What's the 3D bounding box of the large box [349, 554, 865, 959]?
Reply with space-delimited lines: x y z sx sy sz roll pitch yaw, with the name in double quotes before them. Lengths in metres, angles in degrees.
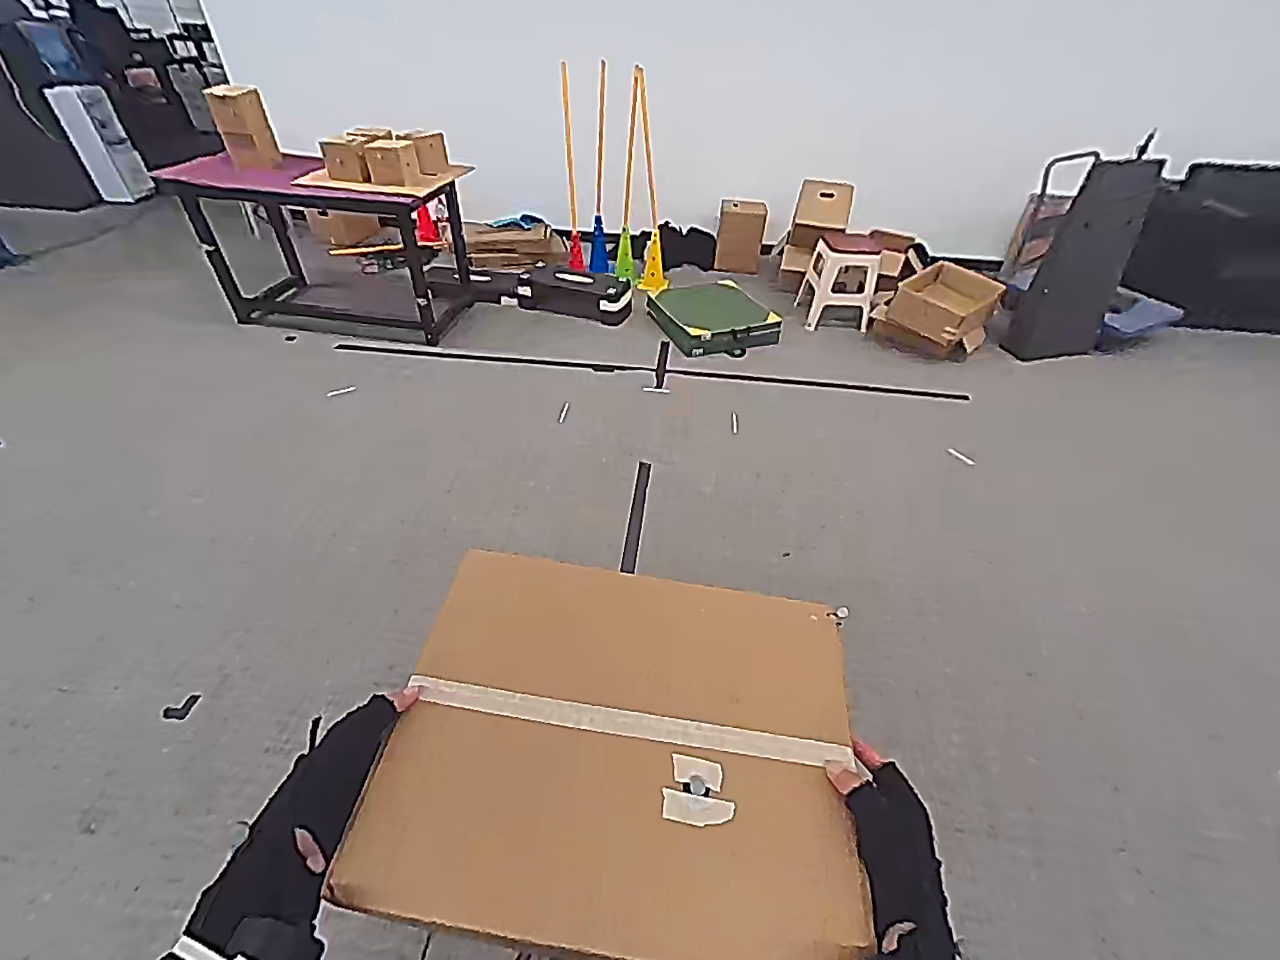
"large box" -0.021 0.321 0.613 0.408 0.320 0.320 9 48 2
